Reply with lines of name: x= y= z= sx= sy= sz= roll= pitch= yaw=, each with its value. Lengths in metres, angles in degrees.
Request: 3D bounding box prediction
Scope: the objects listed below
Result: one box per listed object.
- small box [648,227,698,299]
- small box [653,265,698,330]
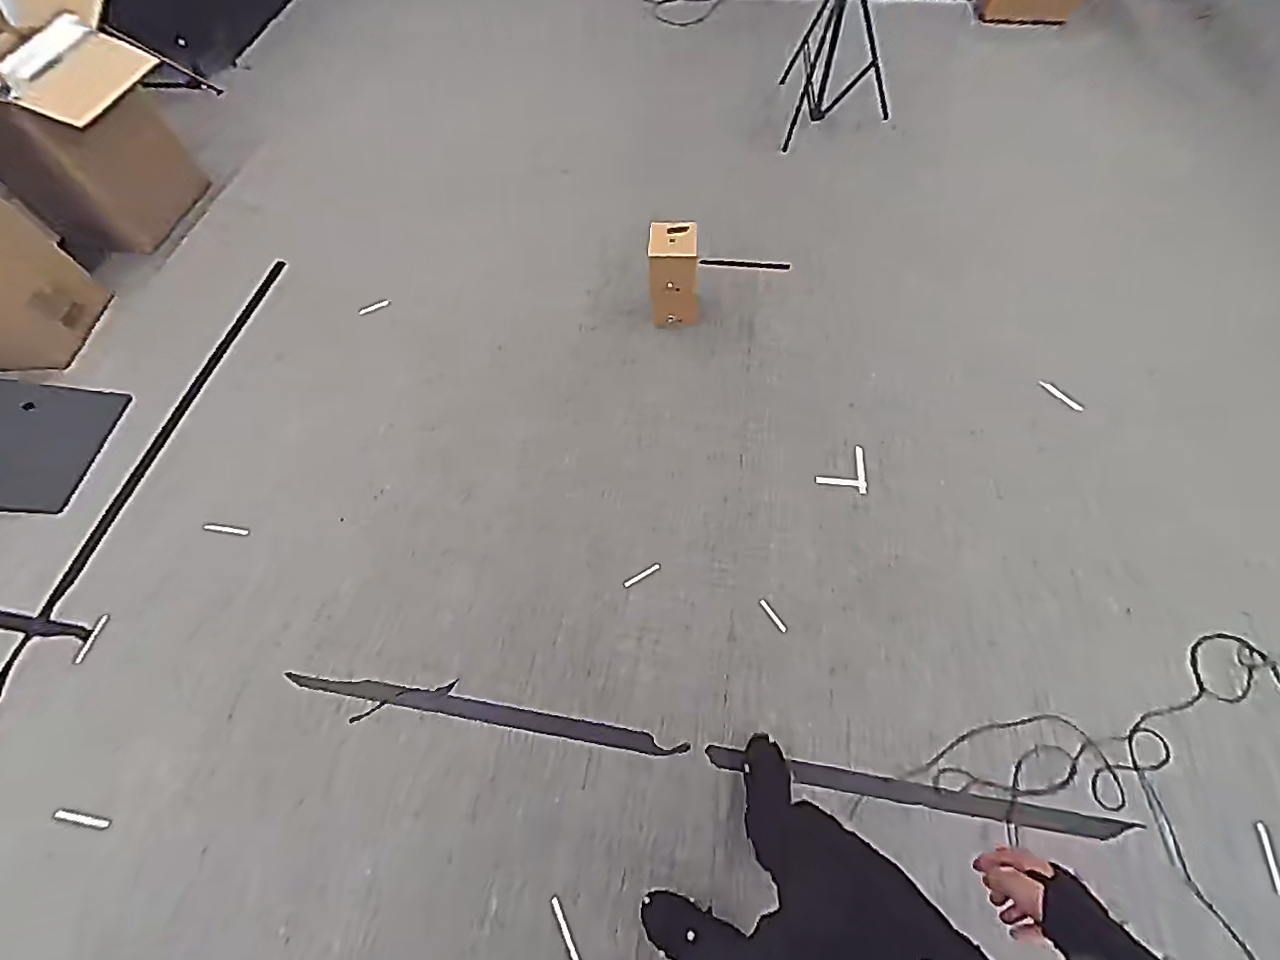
small box: x=0.119 y=-0.775 z=1.929 sx=0.168 sy=0.176 sz=0.179 roll=2 pitch=62 yaw=5
small box: x=0.135 y=-0.700 z=2.074 sx=0.168 sy=0.176 sz=0.179 roll=1 pitch=62 yaw=4
